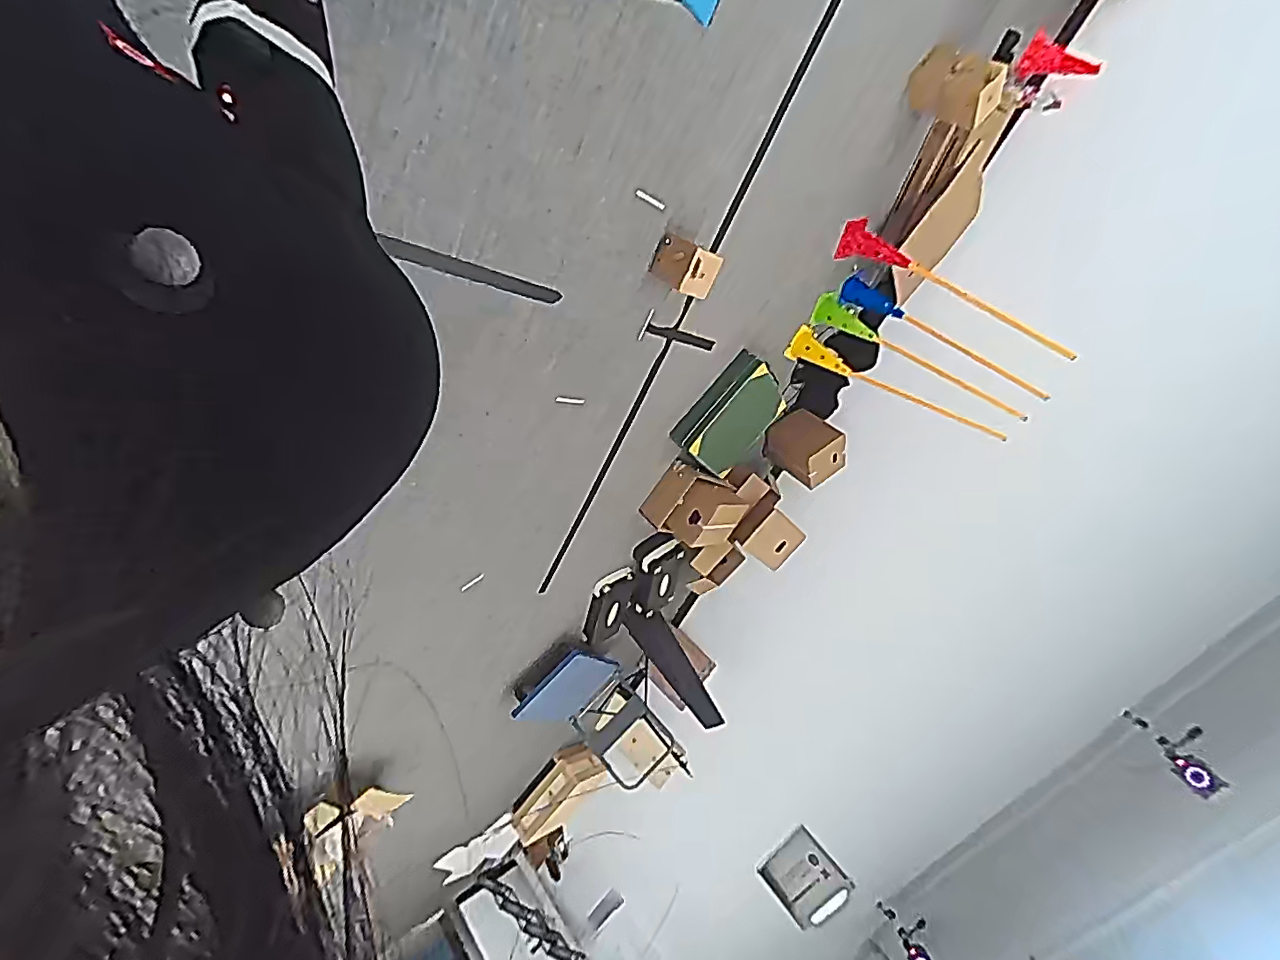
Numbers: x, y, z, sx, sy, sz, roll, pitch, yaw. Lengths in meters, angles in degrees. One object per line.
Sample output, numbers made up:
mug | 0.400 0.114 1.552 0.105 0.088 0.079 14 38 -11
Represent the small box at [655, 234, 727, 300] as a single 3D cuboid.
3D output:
small box | 0.189 -0.808 2.042 0.179 0.176 0.168 -7 132 -50
